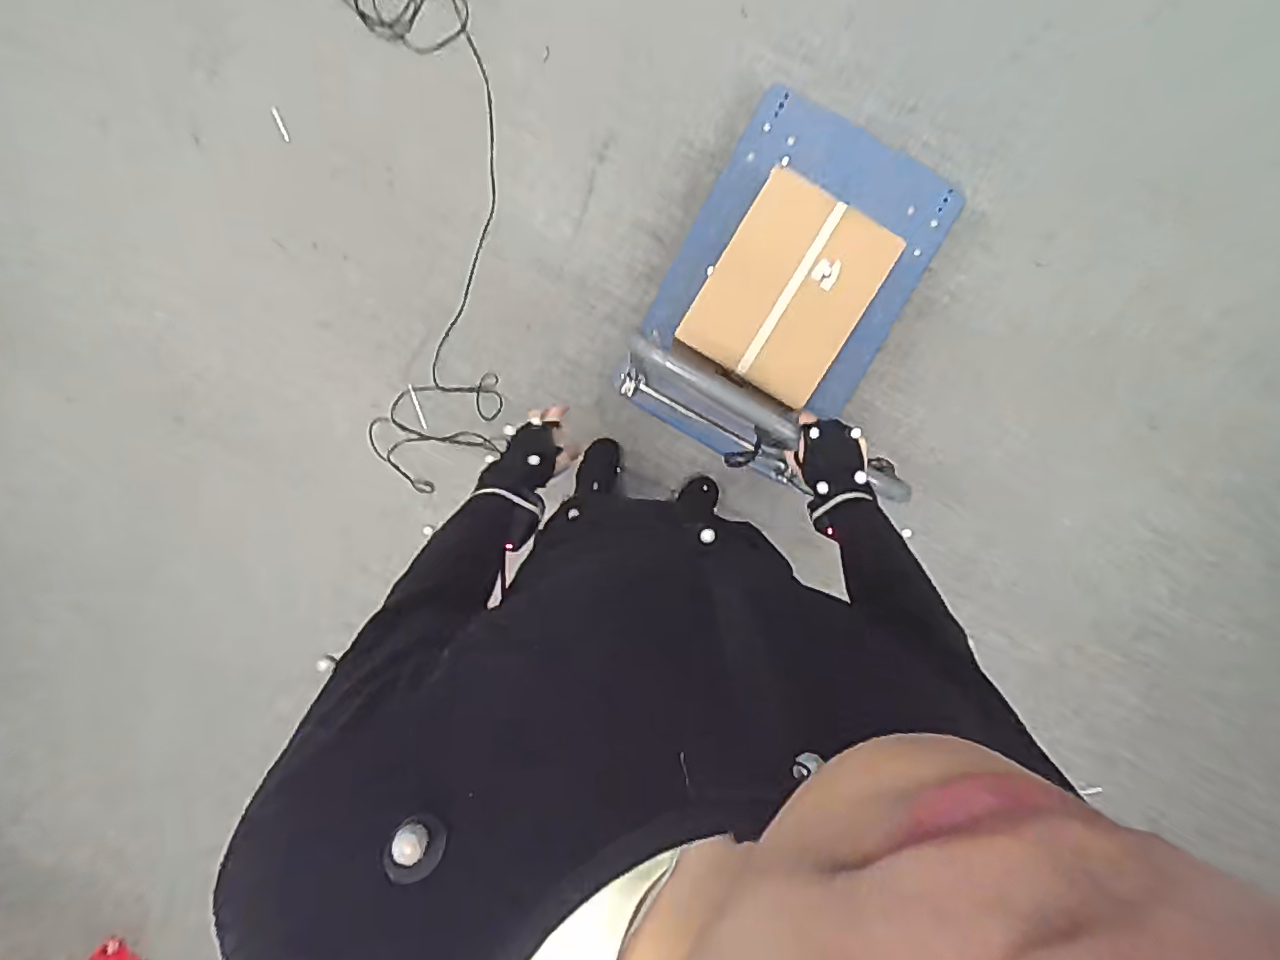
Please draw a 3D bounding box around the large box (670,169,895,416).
[{"bbox_3d":[0.299,-0.400,1.267,0.320,0.320,0.408,31,95,-2],"label":"large box"}]
